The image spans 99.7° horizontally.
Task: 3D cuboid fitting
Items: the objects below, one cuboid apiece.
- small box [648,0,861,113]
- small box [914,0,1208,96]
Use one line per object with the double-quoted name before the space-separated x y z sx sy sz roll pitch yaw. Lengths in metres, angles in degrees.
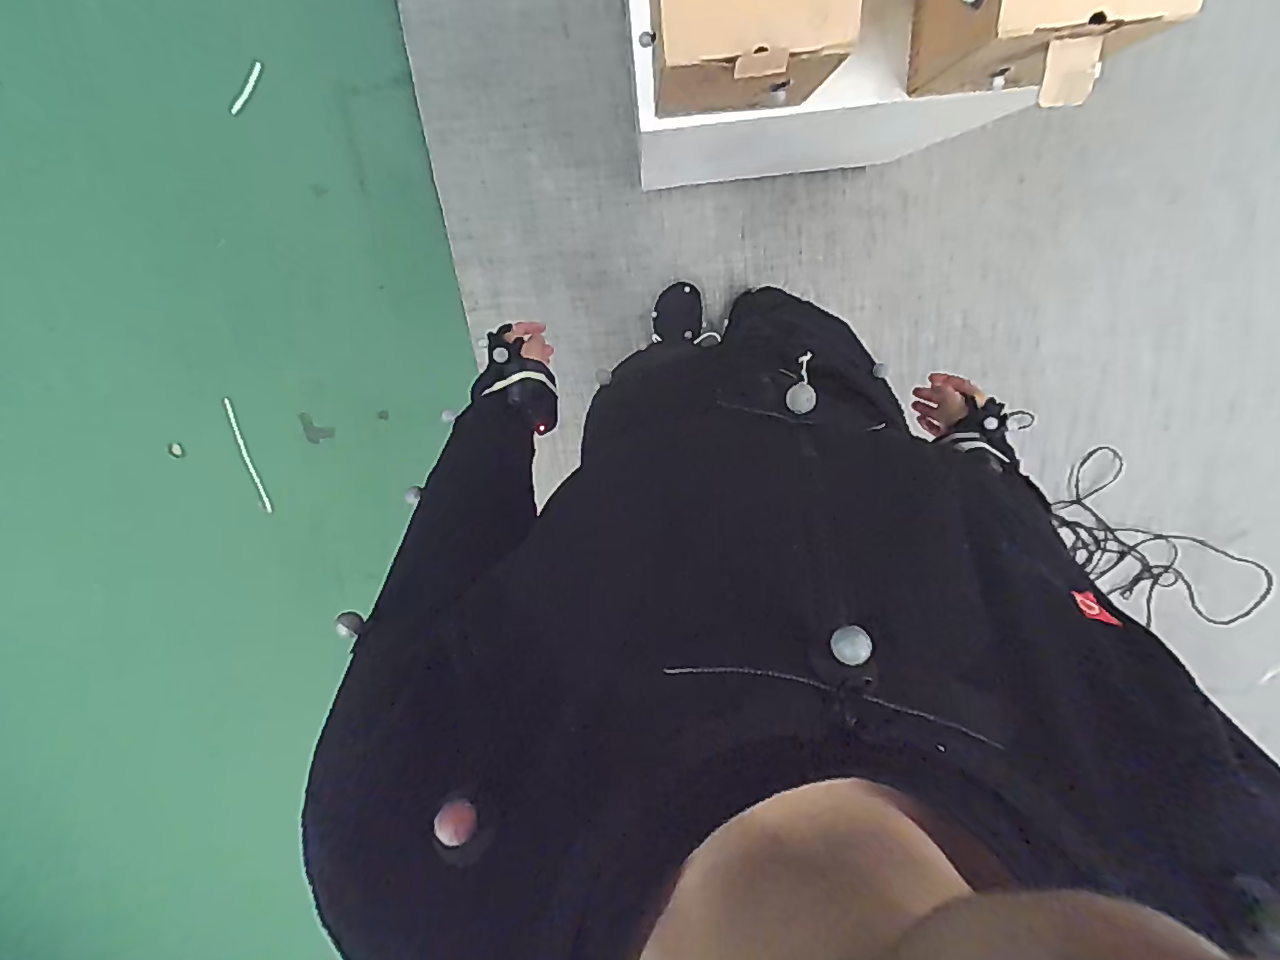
"small box" 0.093 -0.459 0.495 0.168 0.176 0.179 -5 110 1
"small box" 0.369 -0.479 0.484 0.168 0.176 0.179 -5 111 2
